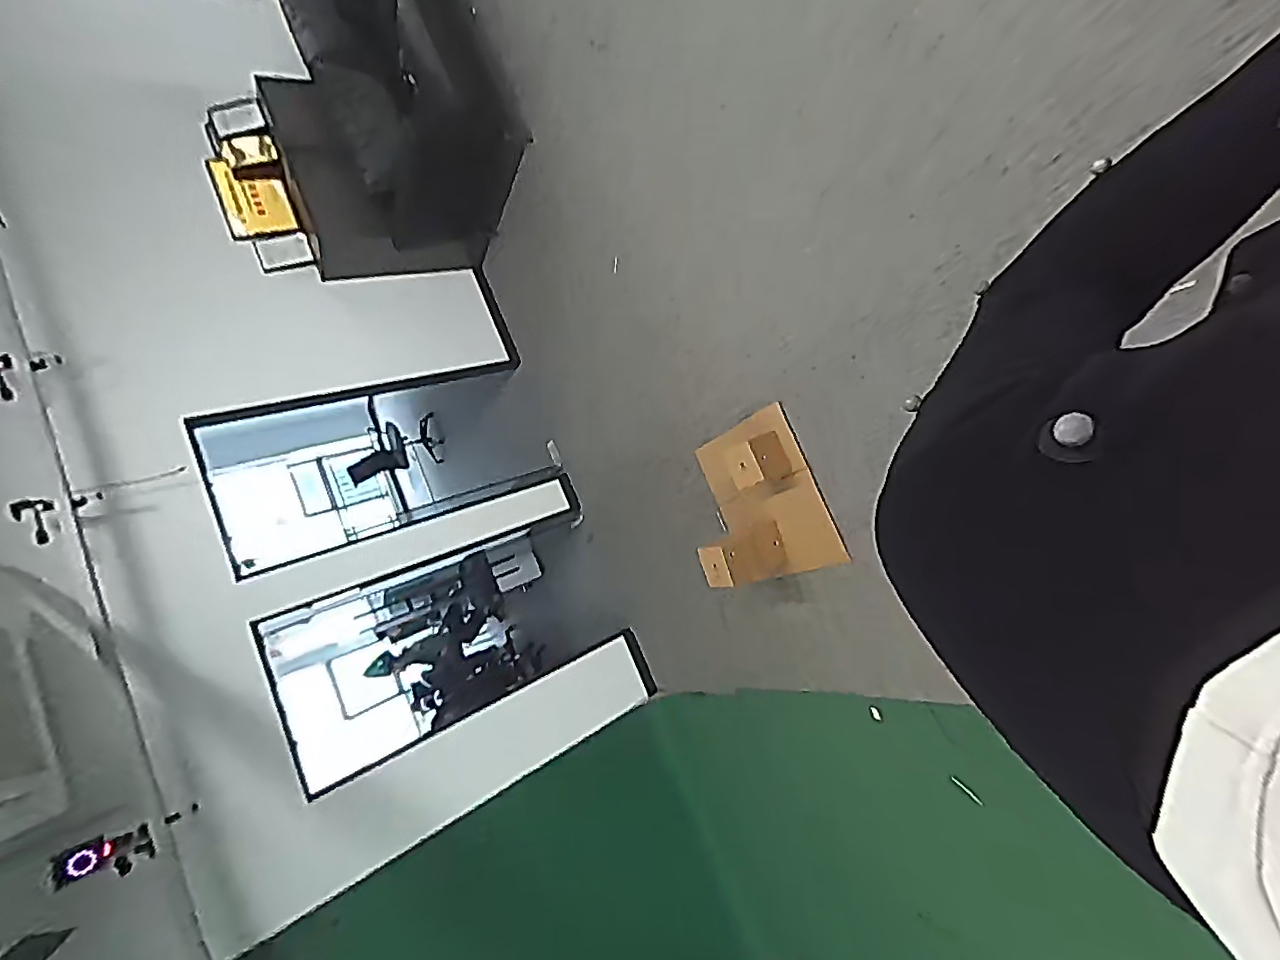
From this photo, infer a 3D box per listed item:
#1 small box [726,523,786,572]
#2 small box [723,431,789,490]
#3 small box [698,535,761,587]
[{"bbox_3d":[0.507,0.293,2.360,0.168,0.176,0.179,-17,92,58],"label":"small box"},{"bbox_3d":[0.477,-0.081,2.209,0.168,0.176,0.179,-30,81,57],"label":"small box"},{"bbox_3d":[0.376,0.336,2.266,0.168,0.176,0.179,-17,92,58],"label":"small box"}]
